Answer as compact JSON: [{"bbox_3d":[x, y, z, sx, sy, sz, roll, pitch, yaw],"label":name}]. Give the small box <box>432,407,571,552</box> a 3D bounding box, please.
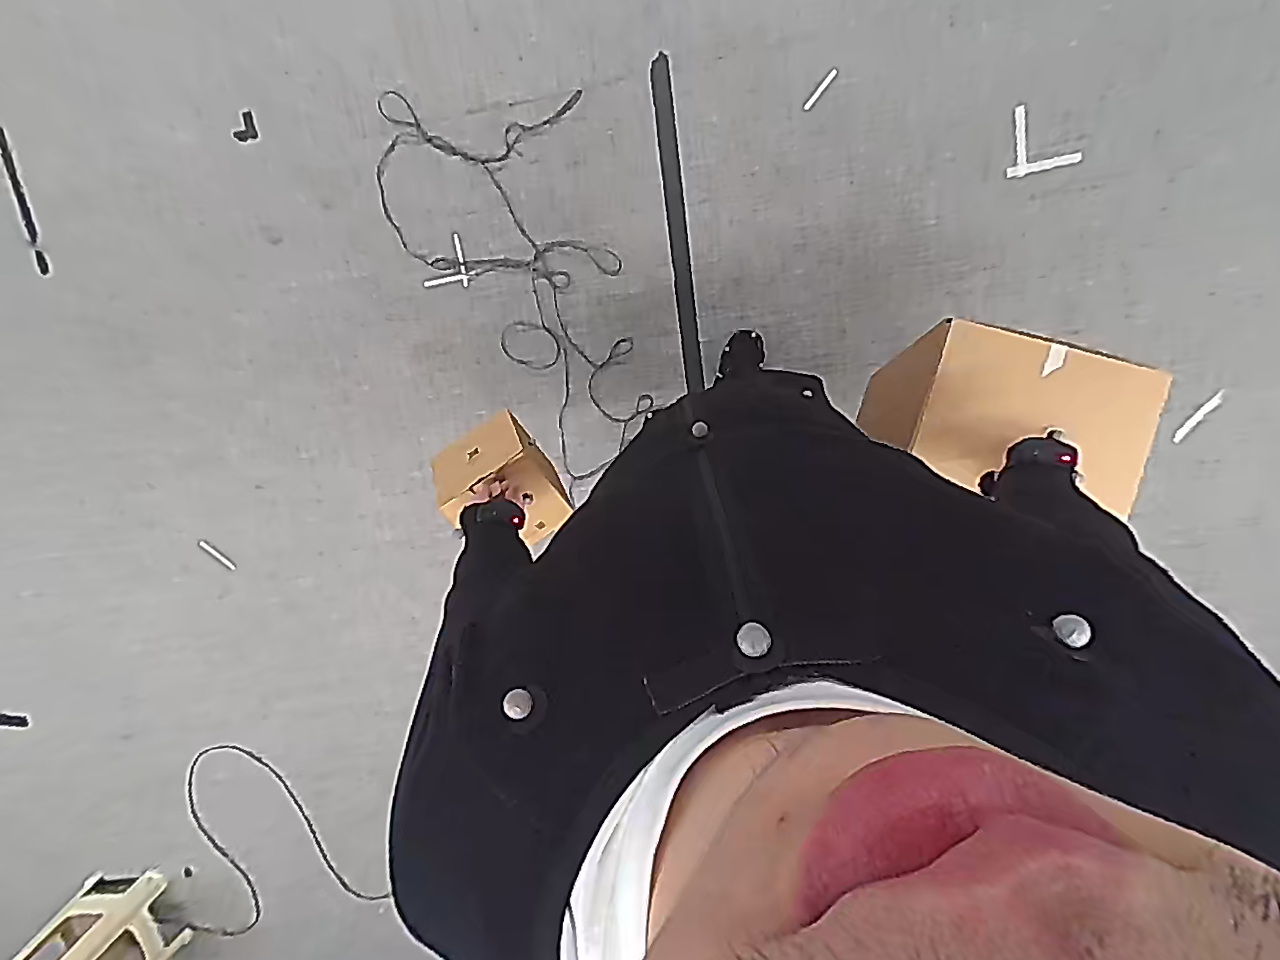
[{"bbox_3d":[-0.246,0.006,0.972,0.168,0.179,0.176,-34,130,-1],"label":"small box"}]
